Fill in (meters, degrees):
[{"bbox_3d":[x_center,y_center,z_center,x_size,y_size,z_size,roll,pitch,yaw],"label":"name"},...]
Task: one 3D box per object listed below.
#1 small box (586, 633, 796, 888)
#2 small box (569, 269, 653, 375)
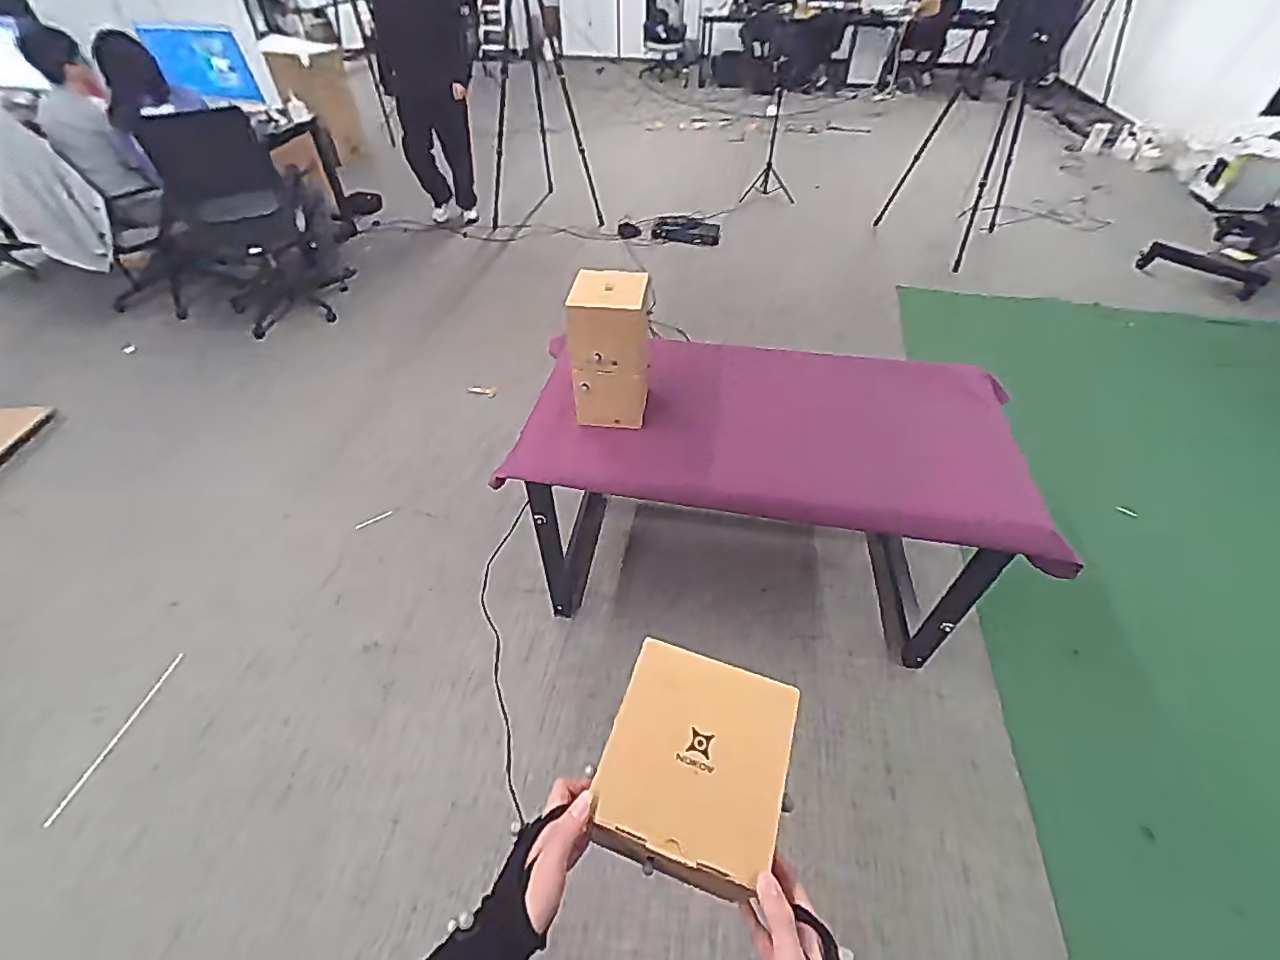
[{"bbox_3d":[0.051,0.296,0.571,0.168,0.176,0.179,16,53,10],"label":"small box"},{"bbox_3d":[-0.064,-0.369,1.261,0.168,0.176,0.179,5,46,5],"label":"small box"}]
